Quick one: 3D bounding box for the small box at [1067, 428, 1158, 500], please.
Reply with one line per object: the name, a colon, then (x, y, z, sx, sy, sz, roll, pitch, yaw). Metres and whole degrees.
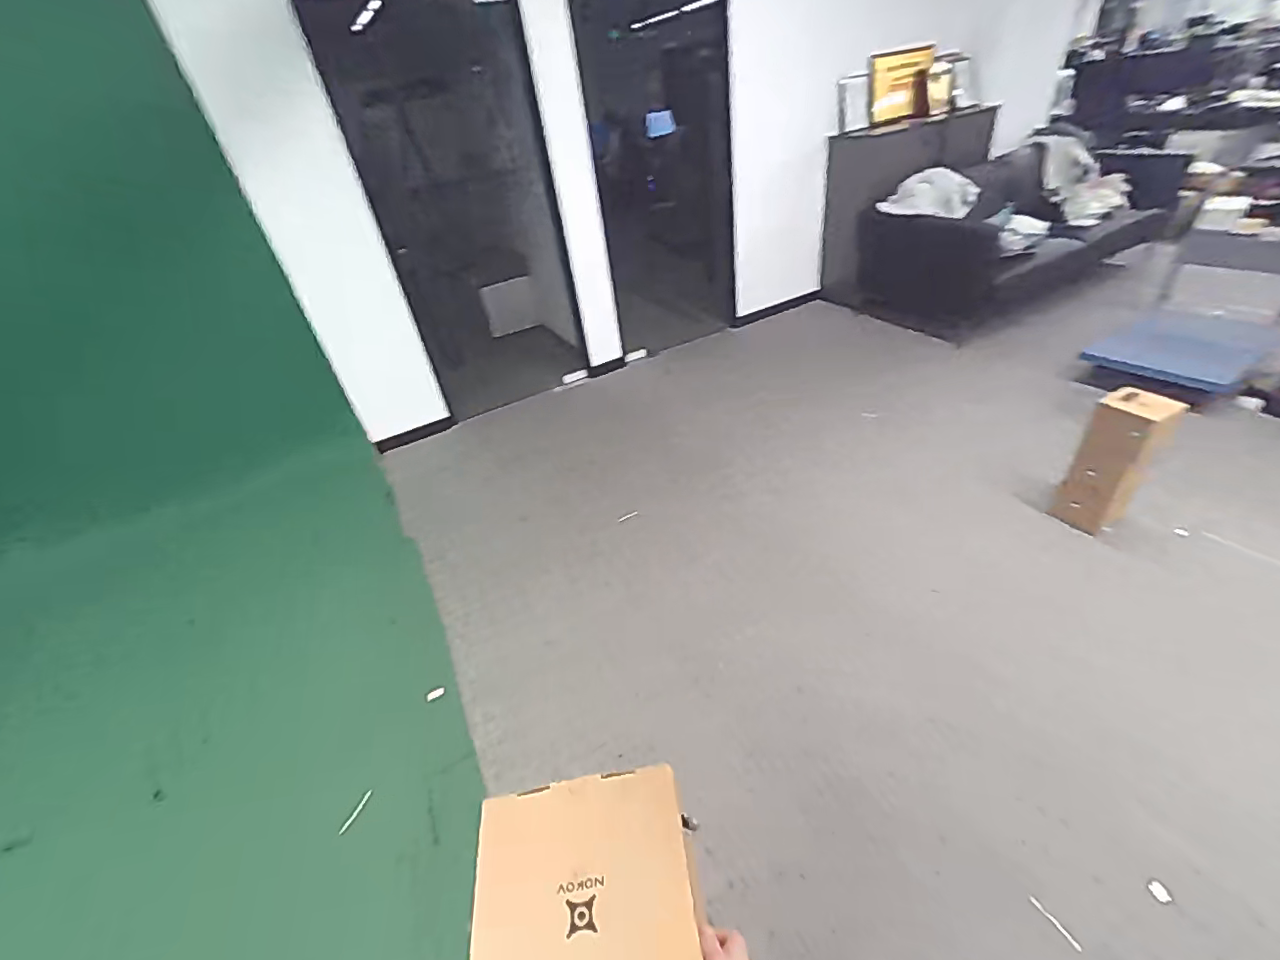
small box: (1.662, -0.054, 1.916, 0.179, 0.176, 0.168, -22, 38, -18)

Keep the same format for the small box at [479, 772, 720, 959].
small box: (-0.023, 0.374, 0.444, 0.168, 0.176, 0.179, -11, 42, 0)

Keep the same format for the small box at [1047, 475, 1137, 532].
small box: (1.678, 0.075, 2.016, 0.168, 0.176, 0.179, -22, 37, -18)
